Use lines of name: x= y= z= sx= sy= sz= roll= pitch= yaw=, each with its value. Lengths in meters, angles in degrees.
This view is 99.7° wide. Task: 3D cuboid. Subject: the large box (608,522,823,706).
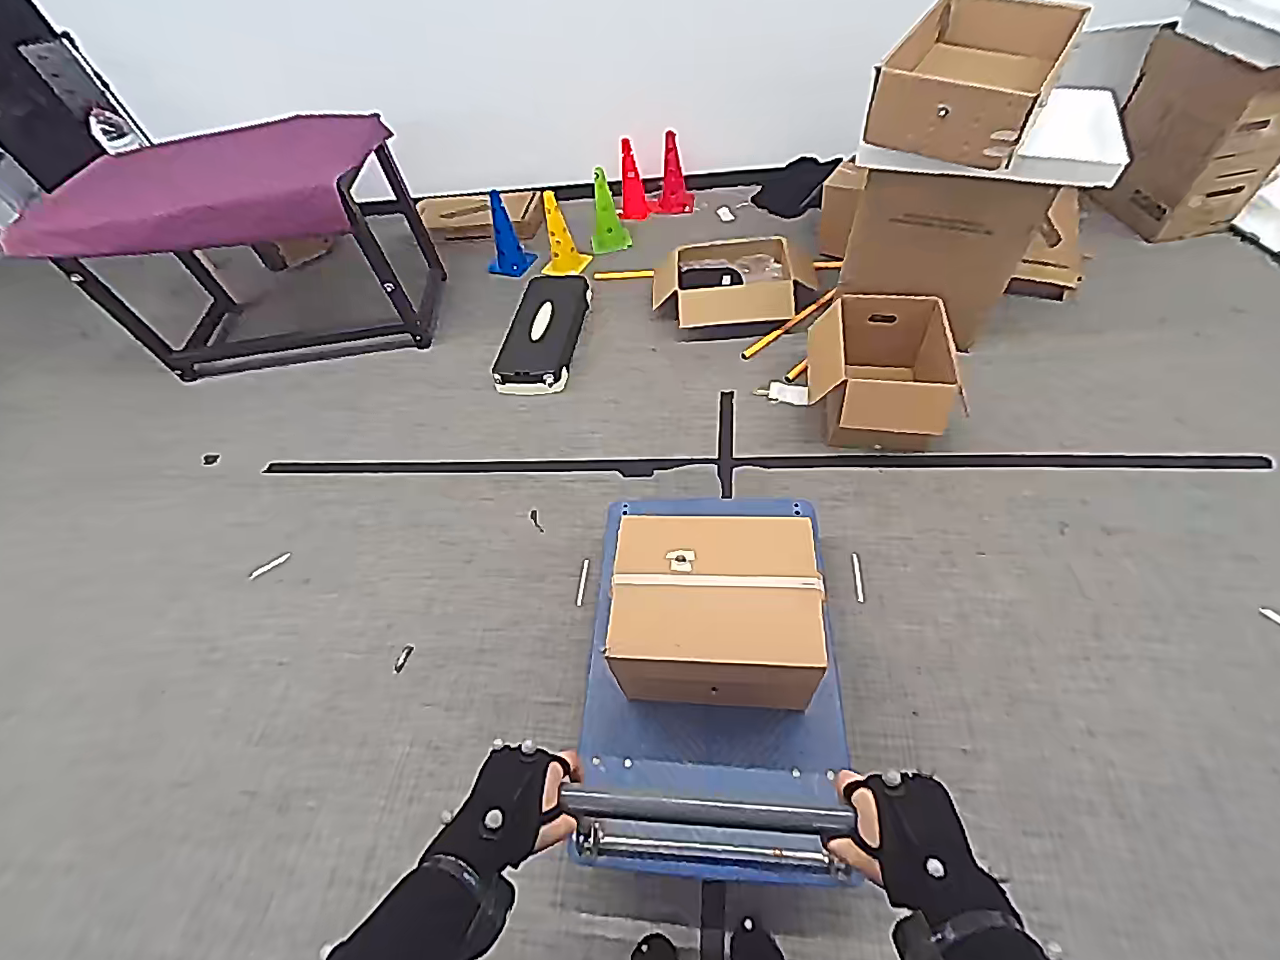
large box: x=0.166 y=0.306 z=1.208 sx=0.408 sy=0.320 sz=0.320 roll=-1 pitch=53 yaw=9
